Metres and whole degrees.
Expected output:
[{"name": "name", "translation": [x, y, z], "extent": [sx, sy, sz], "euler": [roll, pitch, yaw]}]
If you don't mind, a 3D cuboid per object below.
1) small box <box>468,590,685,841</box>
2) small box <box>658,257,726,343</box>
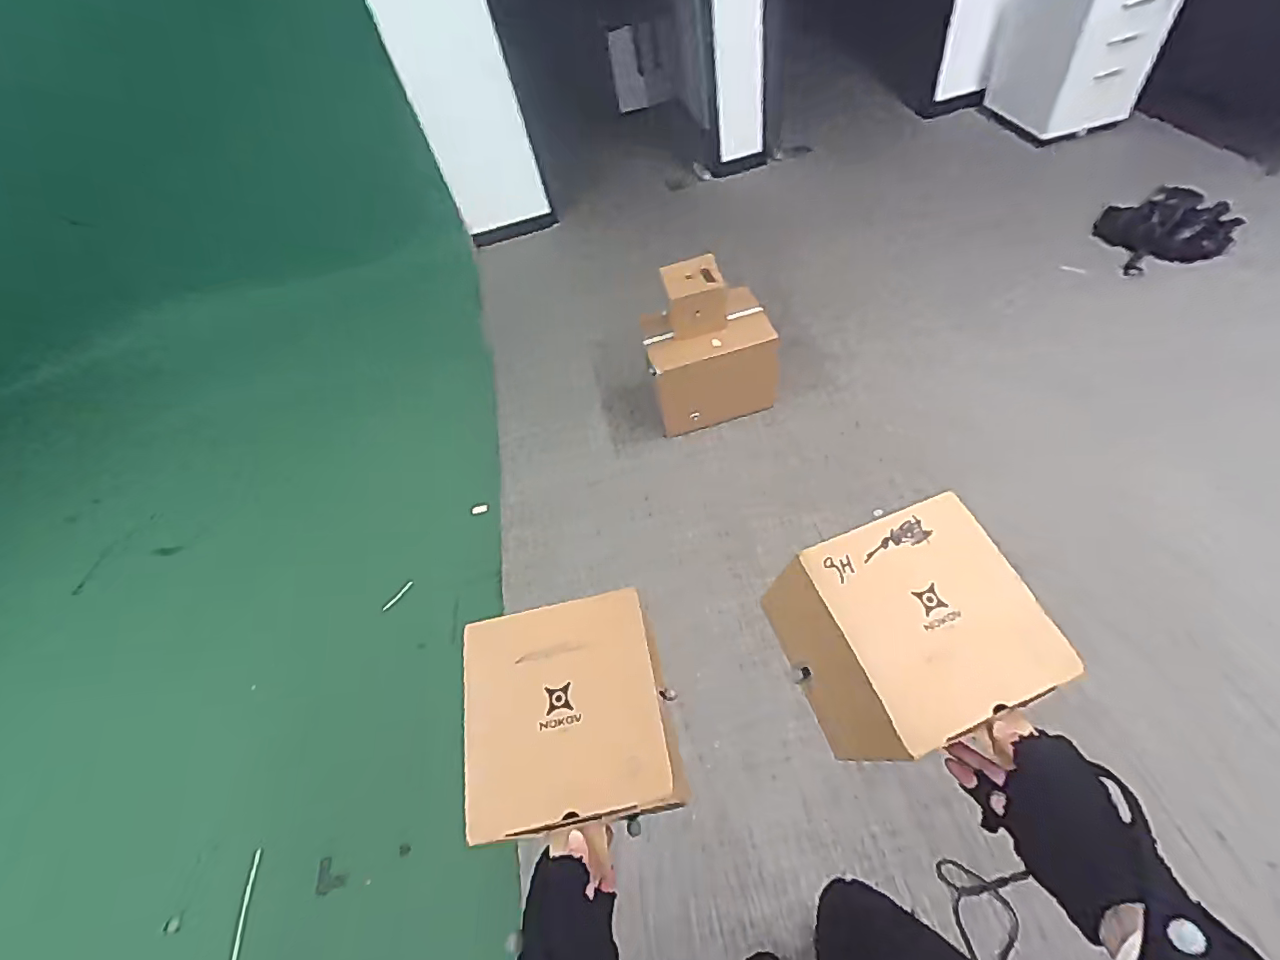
[{"name": "small box", "translation": [-0.057, 0.235, 0.534], "extent": [0.168, 0.176, 0.179], "euler": [-14, 56, 1]}, {"name": "small box", "translation": [0.166, -0.569, 1.720], "extent": [0.179, 0.176, 0.168], "euler": [-17, 57, 0]}]
